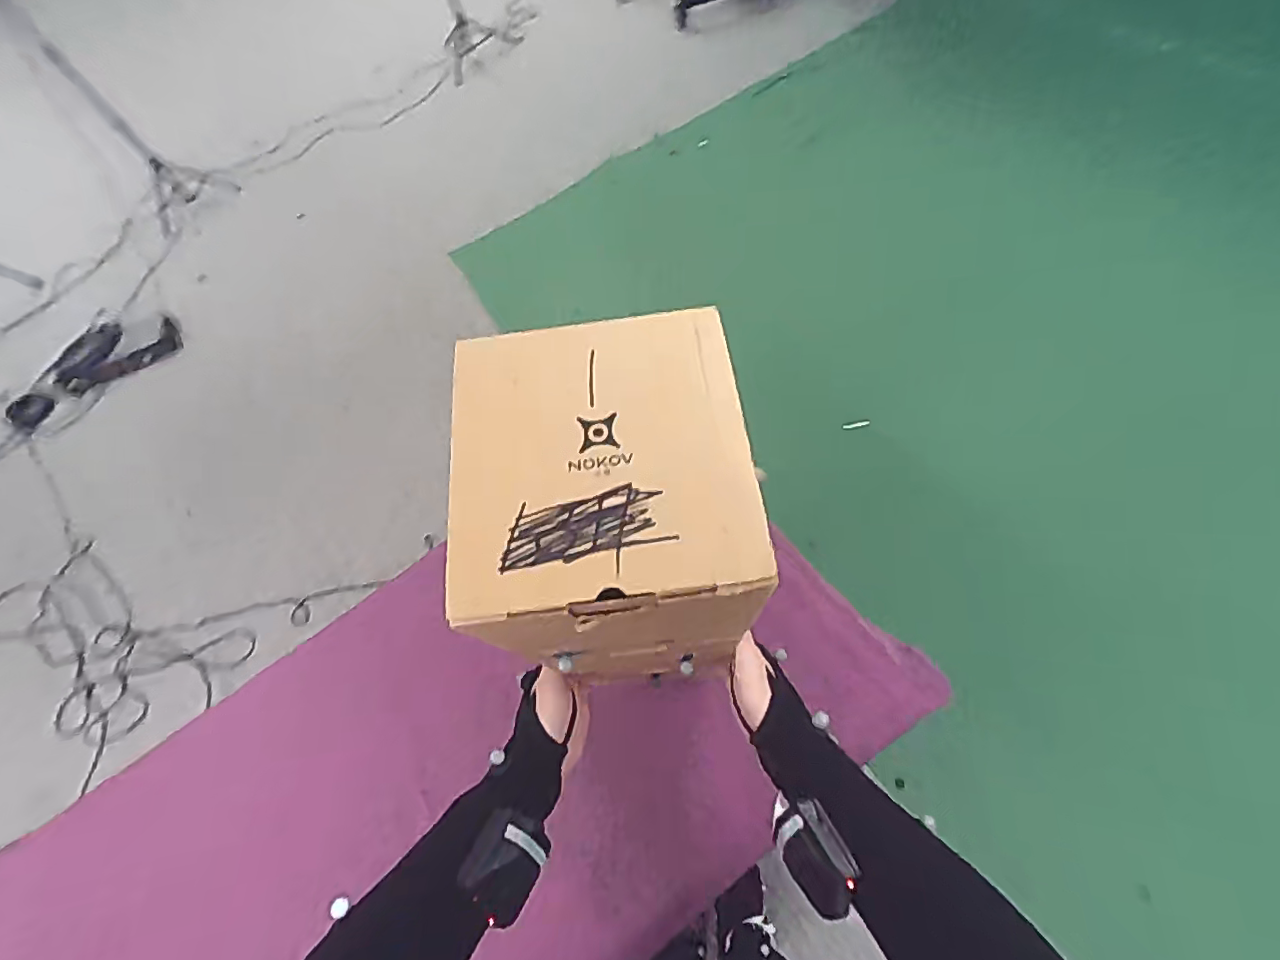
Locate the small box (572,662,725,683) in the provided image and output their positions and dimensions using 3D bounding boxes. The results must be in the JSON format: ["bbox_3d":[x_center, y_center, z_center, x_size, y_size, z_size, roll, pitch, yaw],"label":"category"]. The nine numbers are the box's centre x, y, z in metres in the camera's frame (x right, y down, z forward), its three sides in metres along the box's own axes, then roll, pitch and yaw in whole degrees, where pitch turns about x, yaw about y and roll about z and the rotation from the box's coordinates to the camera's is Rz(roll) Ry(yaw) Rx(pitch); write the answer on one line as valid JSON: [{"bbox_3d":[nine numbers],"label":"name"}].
[{"bbox_3d":[0.012,0.153,0.667,0.168,0.176,0.179,-5,65,3],"label":"small box"}]

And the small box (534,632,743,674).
[{"bbox_3d":[0.000,0.088,0.517,0.168,0.176,0.179,-5,65,2],"label":"small box"}]

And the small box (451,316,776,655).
[{"bbox_3d":[-0.014,0.019,0.369,0.168,0.176,0.179,-6,64,1],"label":"small box"}]
